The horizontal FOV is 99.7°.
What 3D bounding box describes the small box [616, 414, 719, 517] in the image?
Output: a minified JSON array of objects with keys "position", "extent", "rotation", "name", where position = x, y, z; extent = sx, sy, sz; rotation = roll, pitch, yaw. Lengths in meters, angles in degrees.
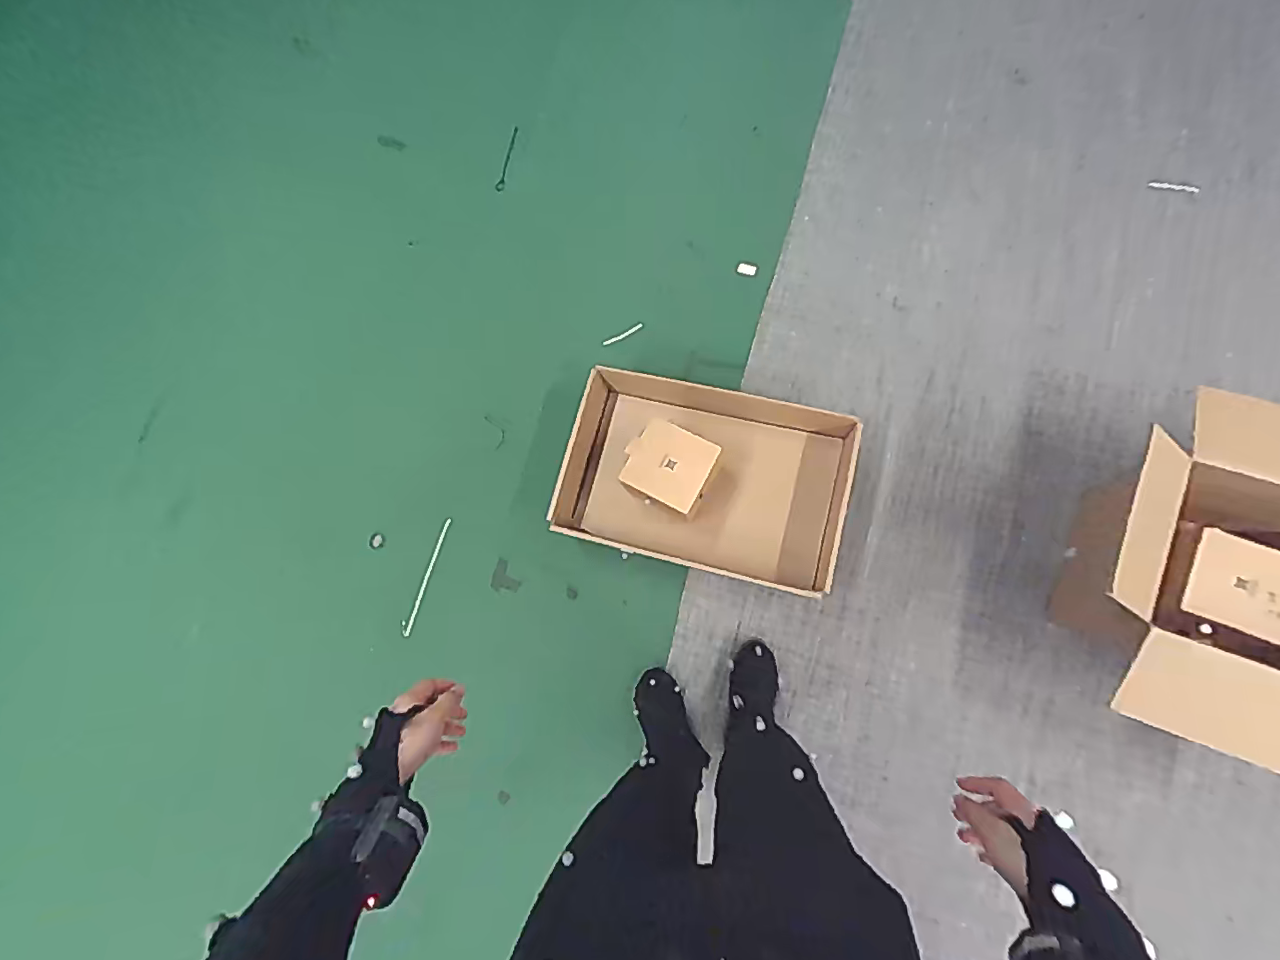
[{"position":[0.070,-0.025,1.250],"extent":[0.179,0.176,0.168],"rotation":[26,82,12],"name":"small box"}]
